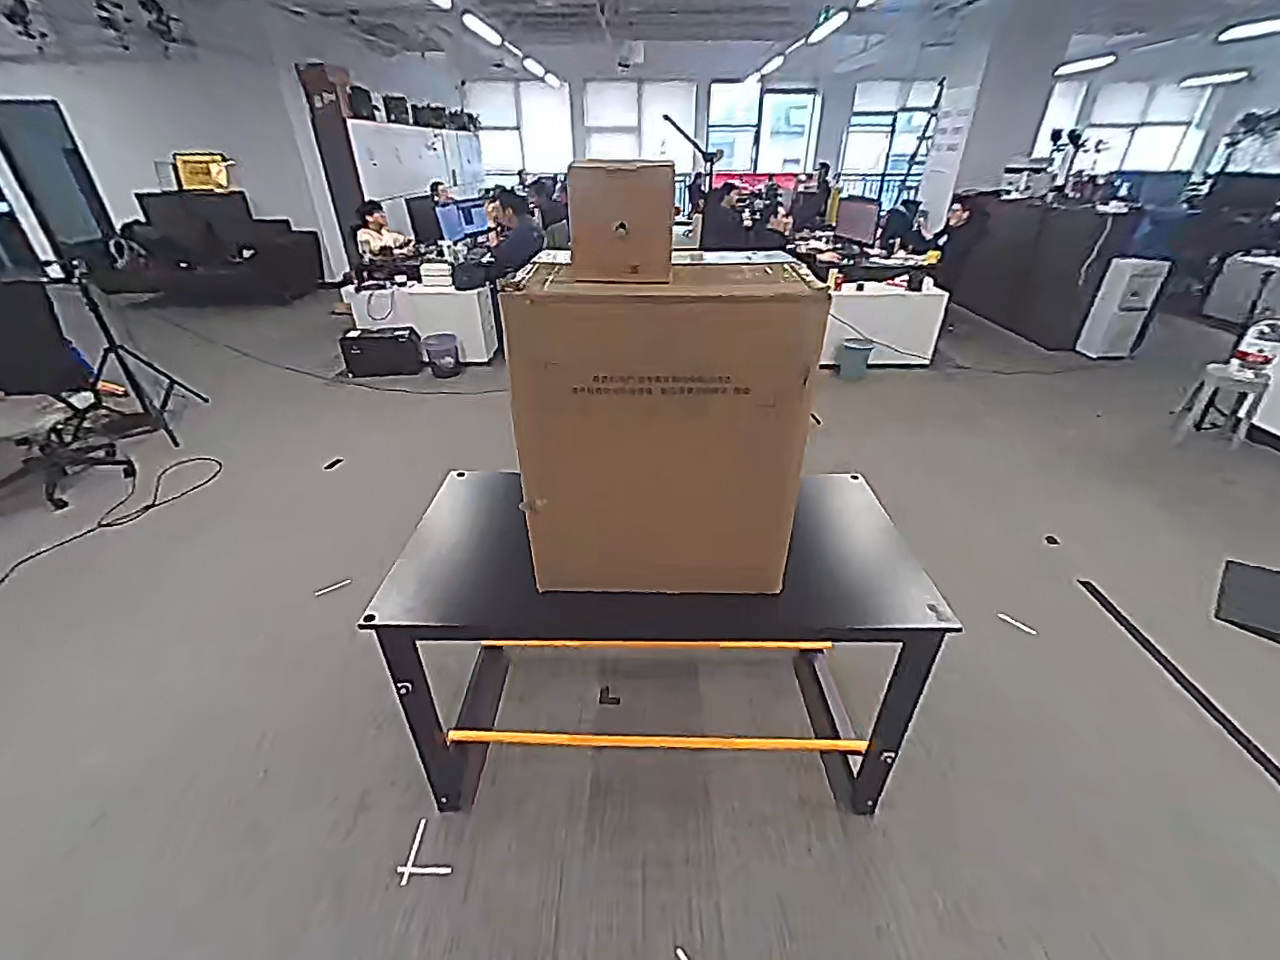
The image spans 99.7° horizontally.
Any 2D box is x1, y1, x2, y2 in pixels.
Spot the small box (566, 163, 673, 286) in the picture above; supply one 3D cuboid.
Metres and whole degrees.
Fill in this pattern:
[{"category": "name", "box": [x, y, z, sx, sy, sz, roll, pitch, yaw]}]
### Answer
[{"category": "small box", "box": [-0.027, -0.436, 0.923, 0.168, 0.176, 0.179, 2, 34, 1]}]
